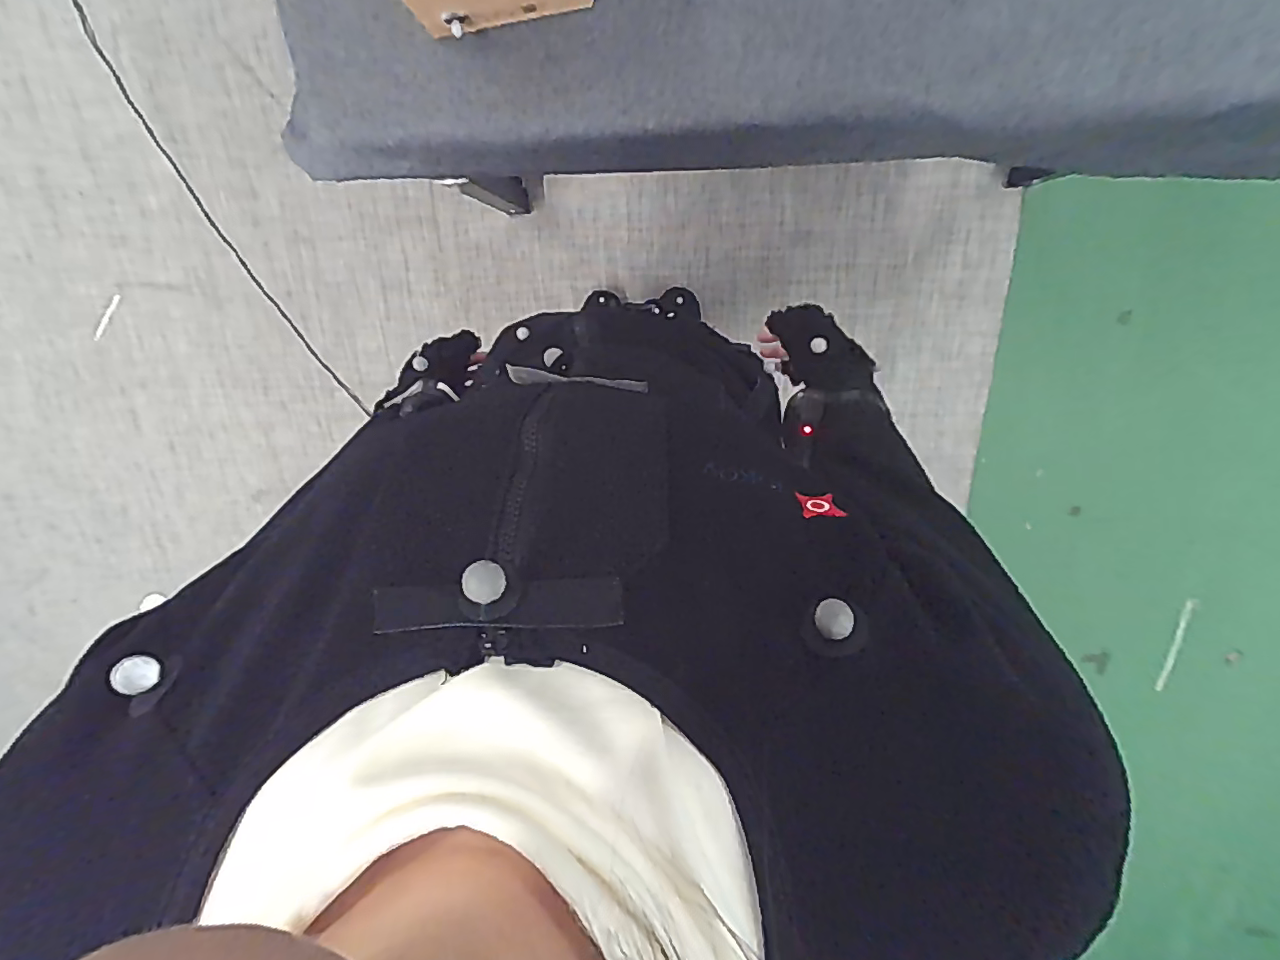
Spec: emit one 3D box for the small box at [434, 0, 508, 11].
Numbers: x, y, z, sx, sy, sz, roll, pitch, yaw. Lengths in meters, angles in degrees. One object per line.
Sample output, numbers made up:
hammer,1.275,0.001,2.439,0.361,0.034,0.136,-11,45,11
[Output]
small box,-0.135,-0.520,0.431,0.168,0.176,0.179,-7,108,5
